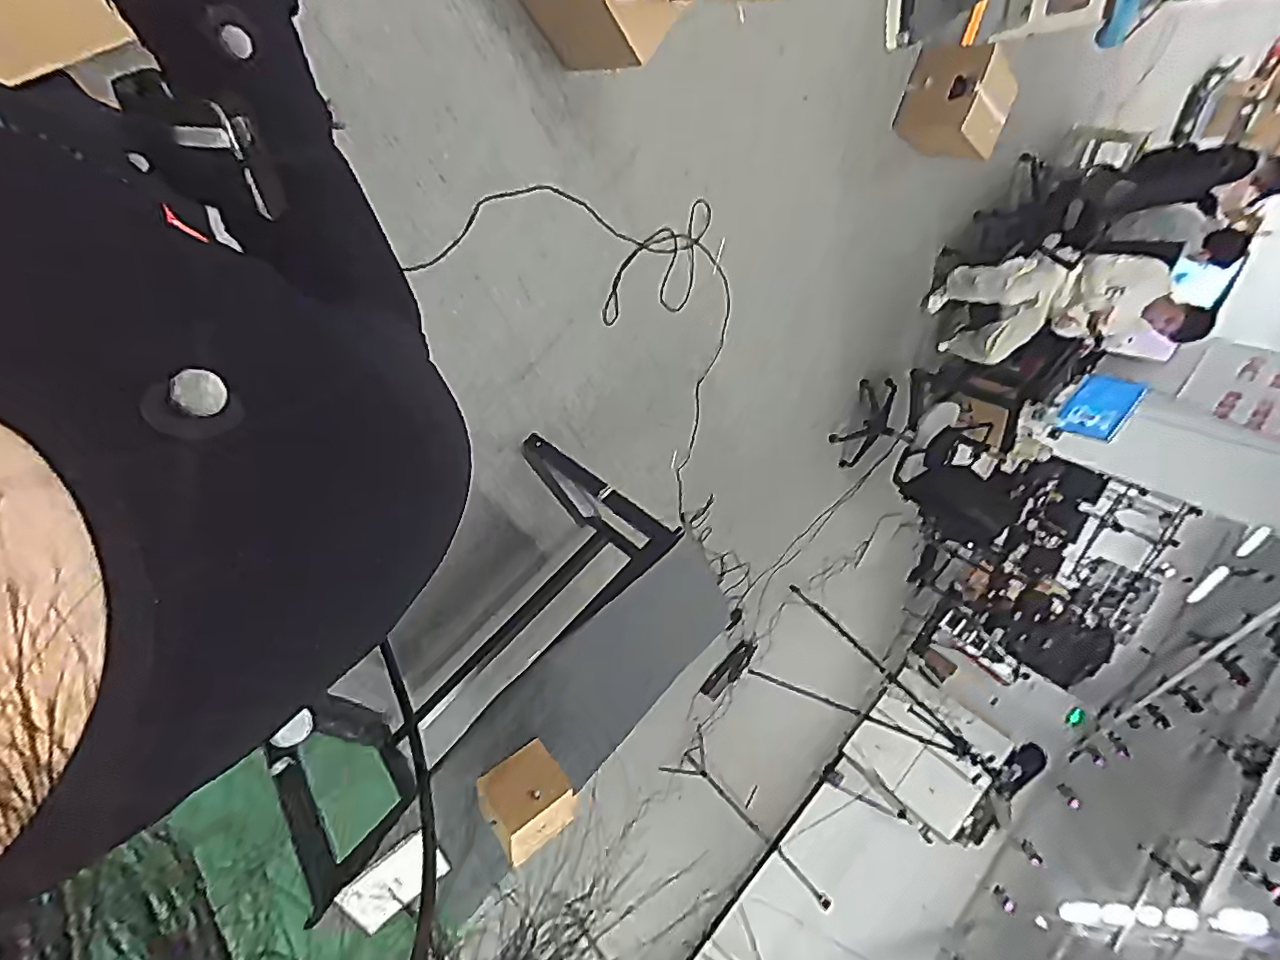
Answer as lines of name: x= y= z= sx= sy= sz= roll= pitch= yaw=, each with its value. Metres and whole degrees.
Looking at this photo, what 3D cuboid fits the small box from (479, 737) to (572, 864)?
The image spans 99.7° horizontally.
small box: x=-0.290 y=0.794 z=1.354 sx=0.179 sy=0.176 sz=0.168 roll=-24 pitch=132 yaw=-36
